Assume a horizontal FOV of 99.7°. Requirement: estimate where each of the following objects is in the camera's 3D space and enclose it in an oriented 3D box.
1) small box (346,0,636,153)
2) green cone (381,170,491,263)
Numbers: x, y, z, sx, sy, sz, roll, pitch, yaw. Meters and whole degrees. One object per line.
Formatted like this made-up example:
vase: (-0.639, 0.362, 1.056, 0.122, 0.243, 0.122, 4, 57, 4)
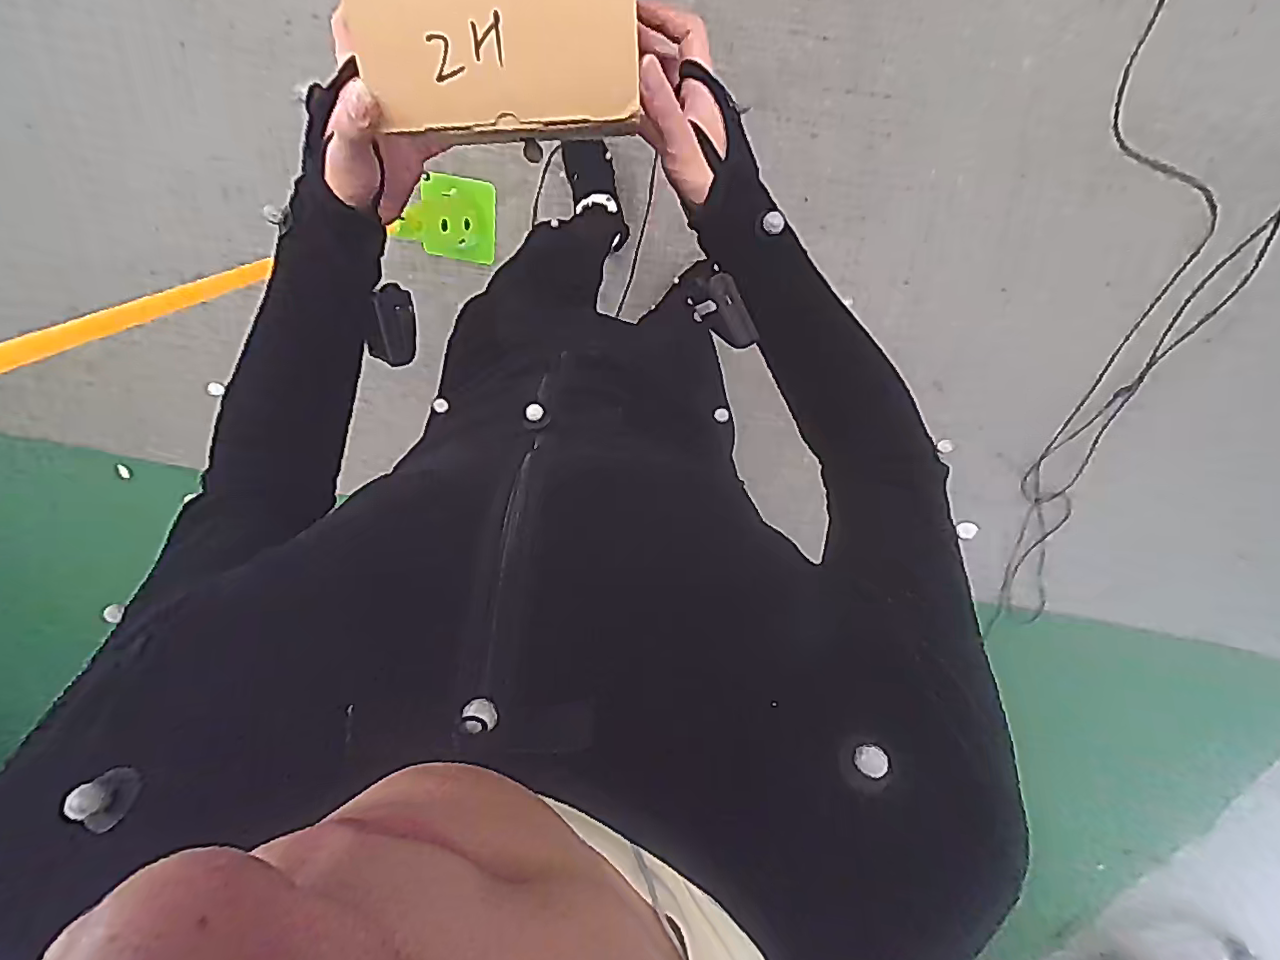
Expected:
small box: (-0.090, -0.332, 0.371, 0.168, 0.176, 0.179, -3, 120, 0)
green cone: (-0.509, -0.609, 1.279, 0.202, 0.368, 0.200, 10, 119, 0)
